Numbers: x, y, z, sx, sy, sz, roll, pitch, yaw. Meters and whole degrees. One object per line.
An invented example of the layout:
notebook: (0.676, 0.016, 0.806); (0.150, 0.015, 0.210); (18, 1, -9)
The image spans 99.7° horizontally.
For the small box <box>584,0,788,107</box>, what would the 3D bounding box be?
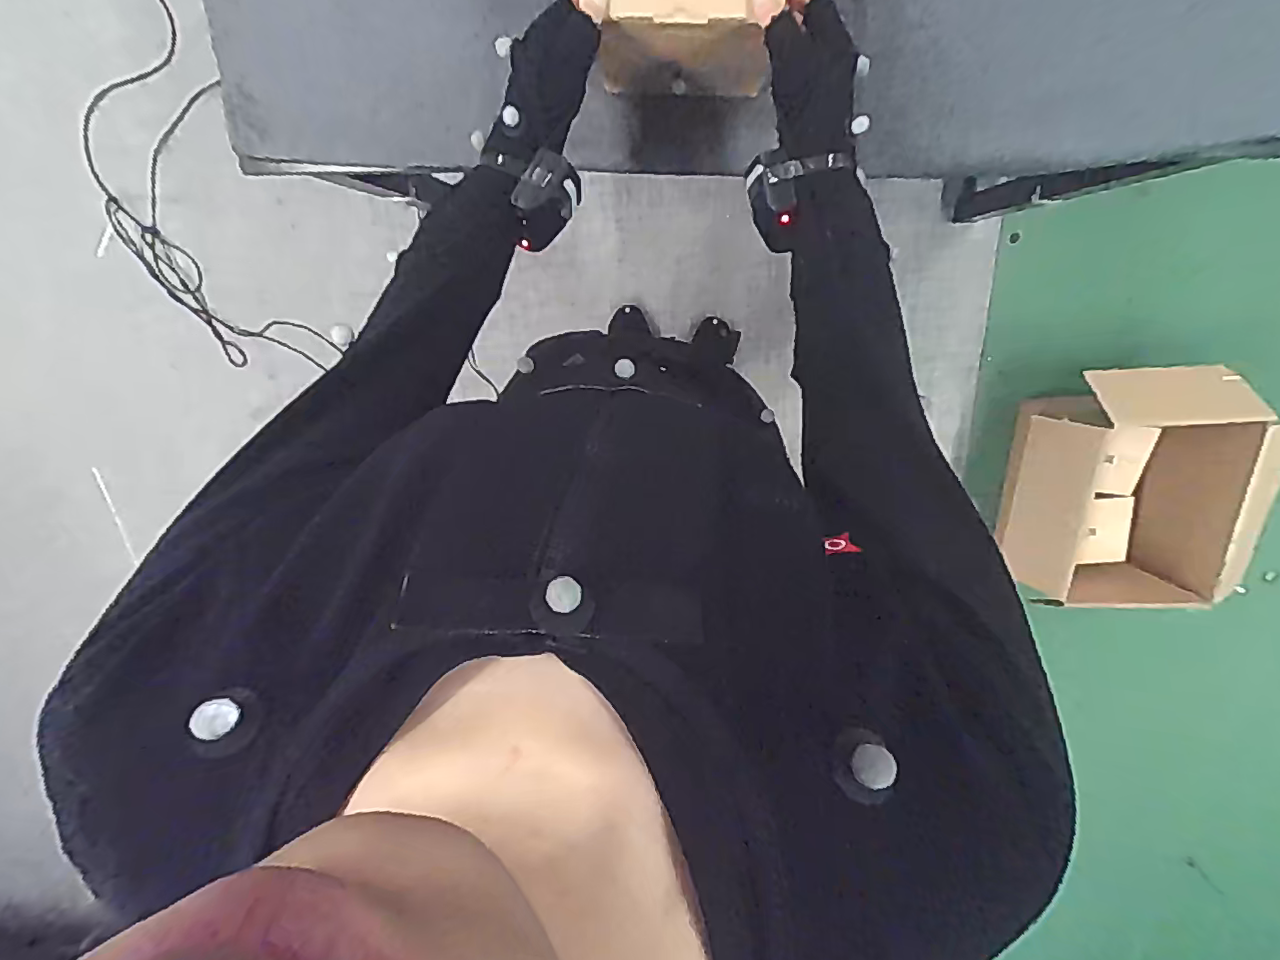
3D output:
small box: (0.044, -0.469, 0.487); (0.168, 0.176, 0.179); (4, 109, 3)
